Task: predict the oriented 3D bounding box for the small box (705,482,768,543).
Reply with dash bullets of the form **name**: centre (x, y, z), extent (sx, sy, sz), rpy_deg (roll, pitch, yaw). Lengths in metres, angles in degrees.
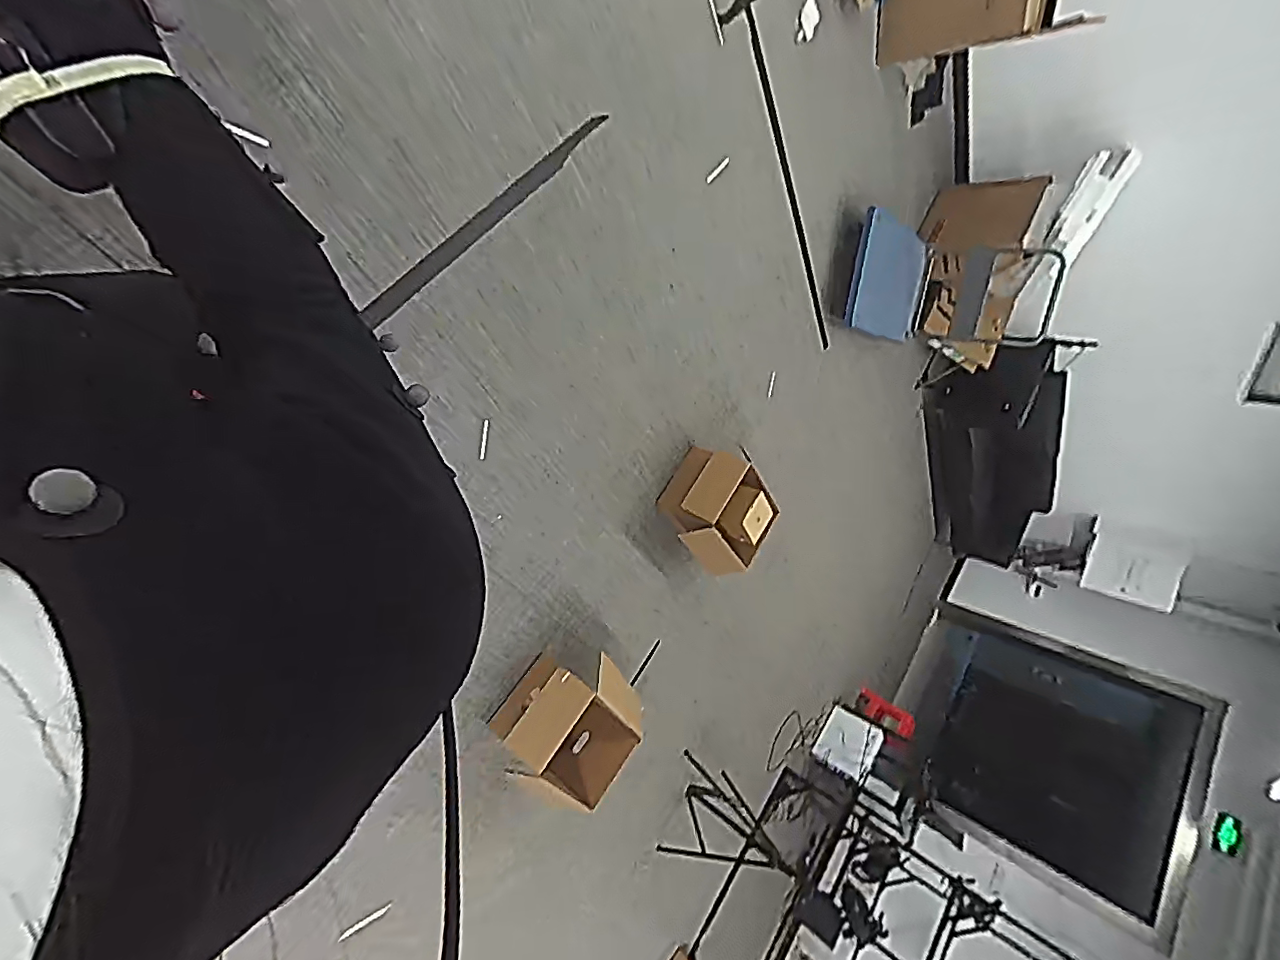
- **small box**: centre (0.401, 0.129, 2.250), extent (0.168, 0.176, 0.179), rpy_deg (-55, 136, -19)
